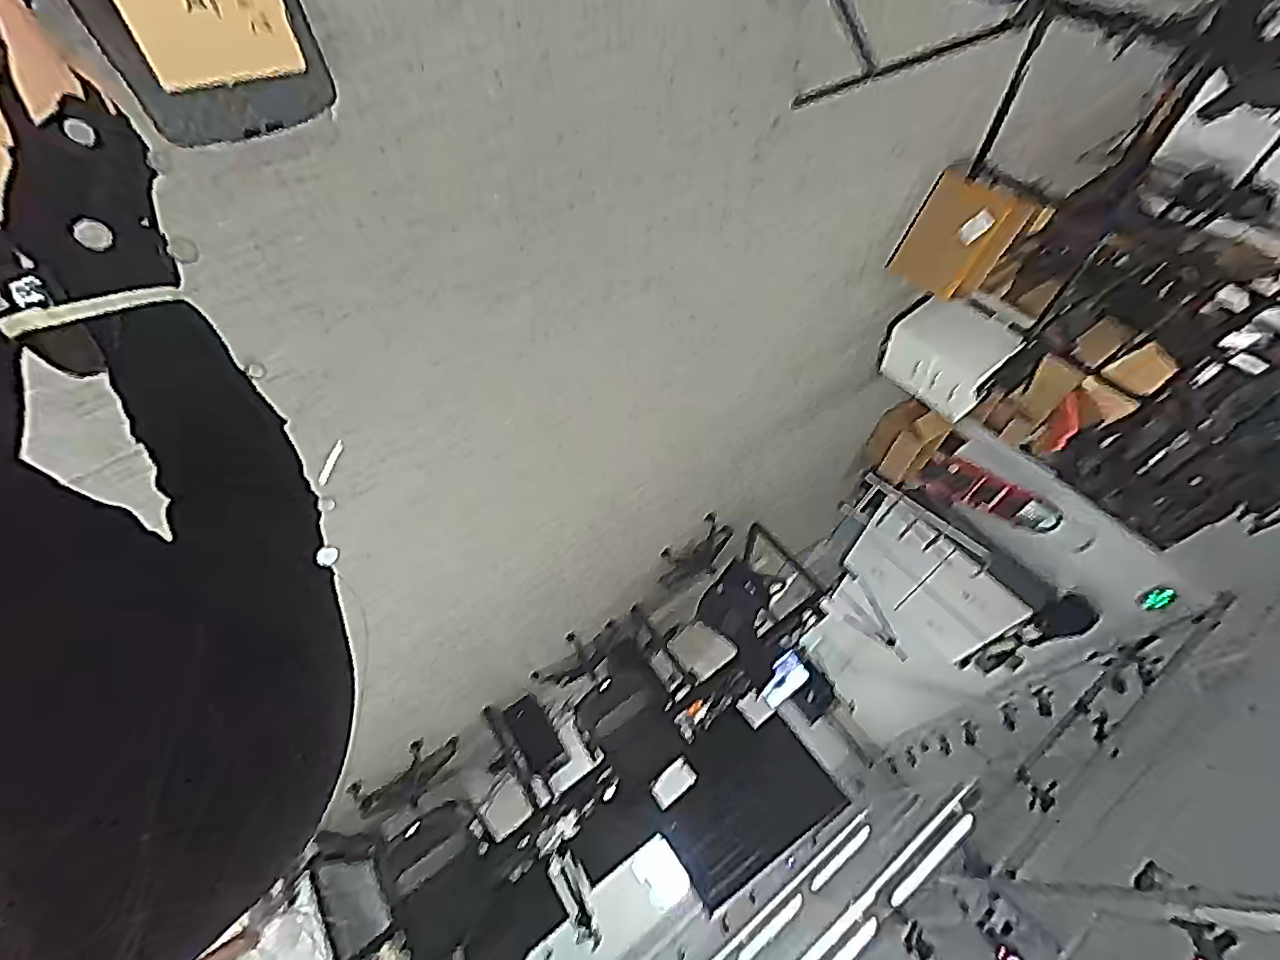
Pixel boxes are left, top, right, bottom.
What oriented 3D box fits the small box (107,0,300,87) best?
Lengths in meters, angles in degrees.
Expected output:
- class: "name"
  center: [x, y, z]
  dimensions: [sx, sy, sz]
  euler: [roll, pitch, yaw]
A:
- class: "small box"
  center: [-0.578, -0.630, 0.684]
  dimensions: [0.179, 0.176, 0.168]
  euler: [-29, 150, -23]
